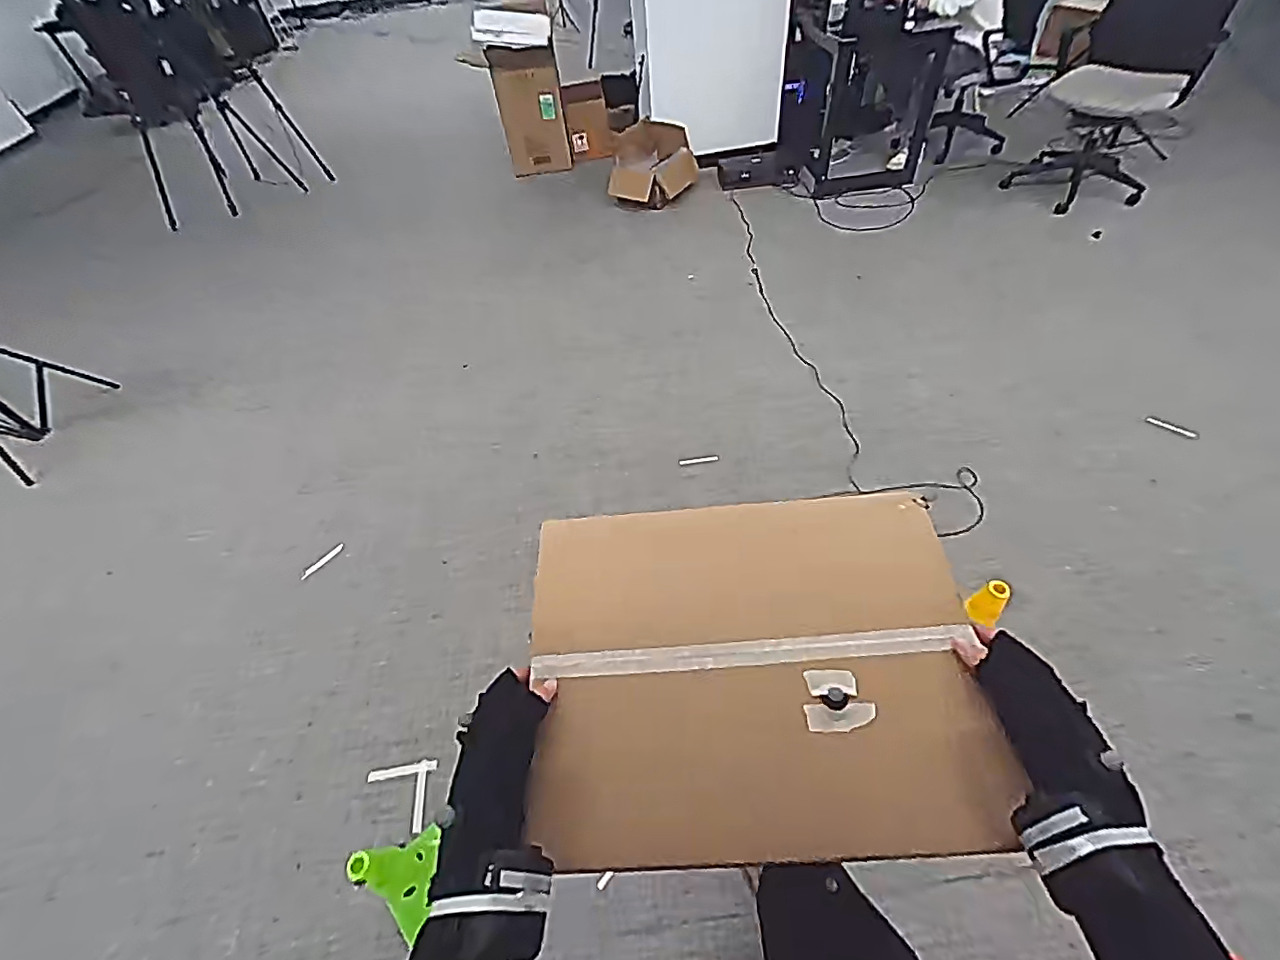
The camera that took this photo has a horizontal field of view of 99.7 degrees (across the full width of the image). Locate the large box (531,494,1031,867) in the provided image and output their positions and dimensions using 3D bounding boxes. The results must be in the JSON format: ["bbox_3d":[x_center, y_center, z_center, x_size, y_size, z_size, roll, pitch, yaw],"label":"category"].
[{"bbox_3d":[0.111,0.243,0.630,0.408,0.320,0.320,-5,57,3],"label":"large box"}]

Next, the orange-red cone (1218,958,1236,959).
[{"bbox_3d":[1.036,0.872,0.822,0.198,0.360,0.199,-10,48,-2],"label":"orange-red cone"}]

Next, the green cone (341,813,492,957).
[{"bbox_3d":[-0.477,0.791,1.081,0.202,0.368,0.200,-40,56,-22],"label":"green cone"}]
